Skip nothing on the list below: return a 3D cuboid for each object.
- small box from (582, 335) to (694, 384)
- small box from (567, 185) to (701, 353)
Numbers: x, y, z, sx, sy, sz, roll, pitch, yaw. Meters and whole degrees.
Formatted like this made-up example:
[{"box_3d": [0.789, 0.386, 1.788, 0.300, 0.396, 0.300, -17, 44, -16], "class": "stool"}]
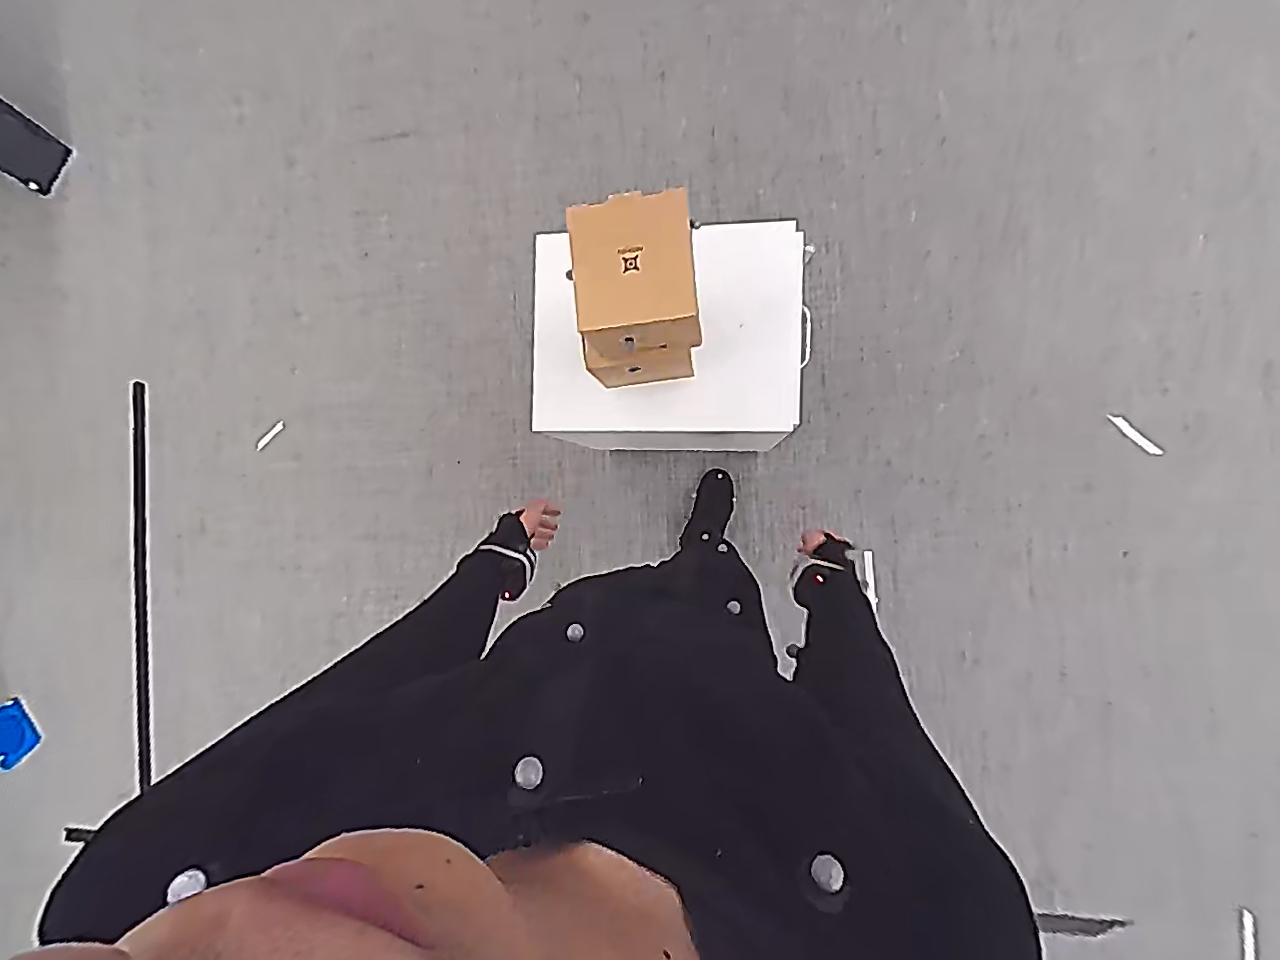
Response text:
[{"box_3d": [-0.002, -0.275, 0.965, 0.179, 0.176, 0.168, -6, 88, 7], "class": "small box"}, {"box_3d": [0.000, -0.295, 0.801, 0.168, 0.176, 0.179, -6, 88, 8], "class": "small box"}]
